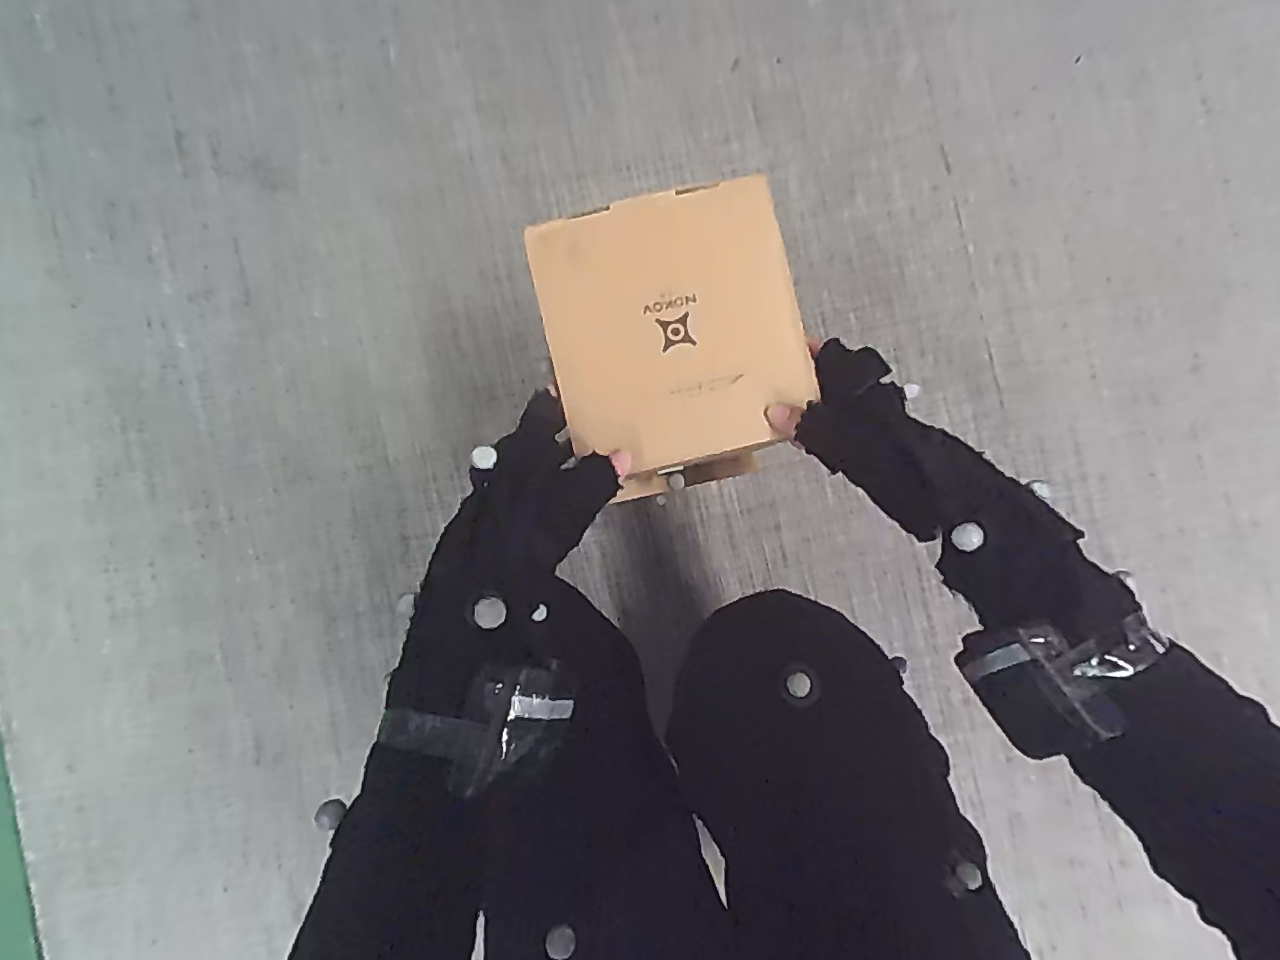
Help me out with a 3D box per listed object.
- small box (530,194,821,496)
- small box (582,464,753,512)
[{"bbox_3d":[0.020,-0.088,0.438,0.168,0.176,0.179,-13,88,-1],"label":"small box"},{"bbox_3d":[0.016,-0.061,0.629,0.179,0.176,0.168,-12,90,0],"label":"small box"}]
